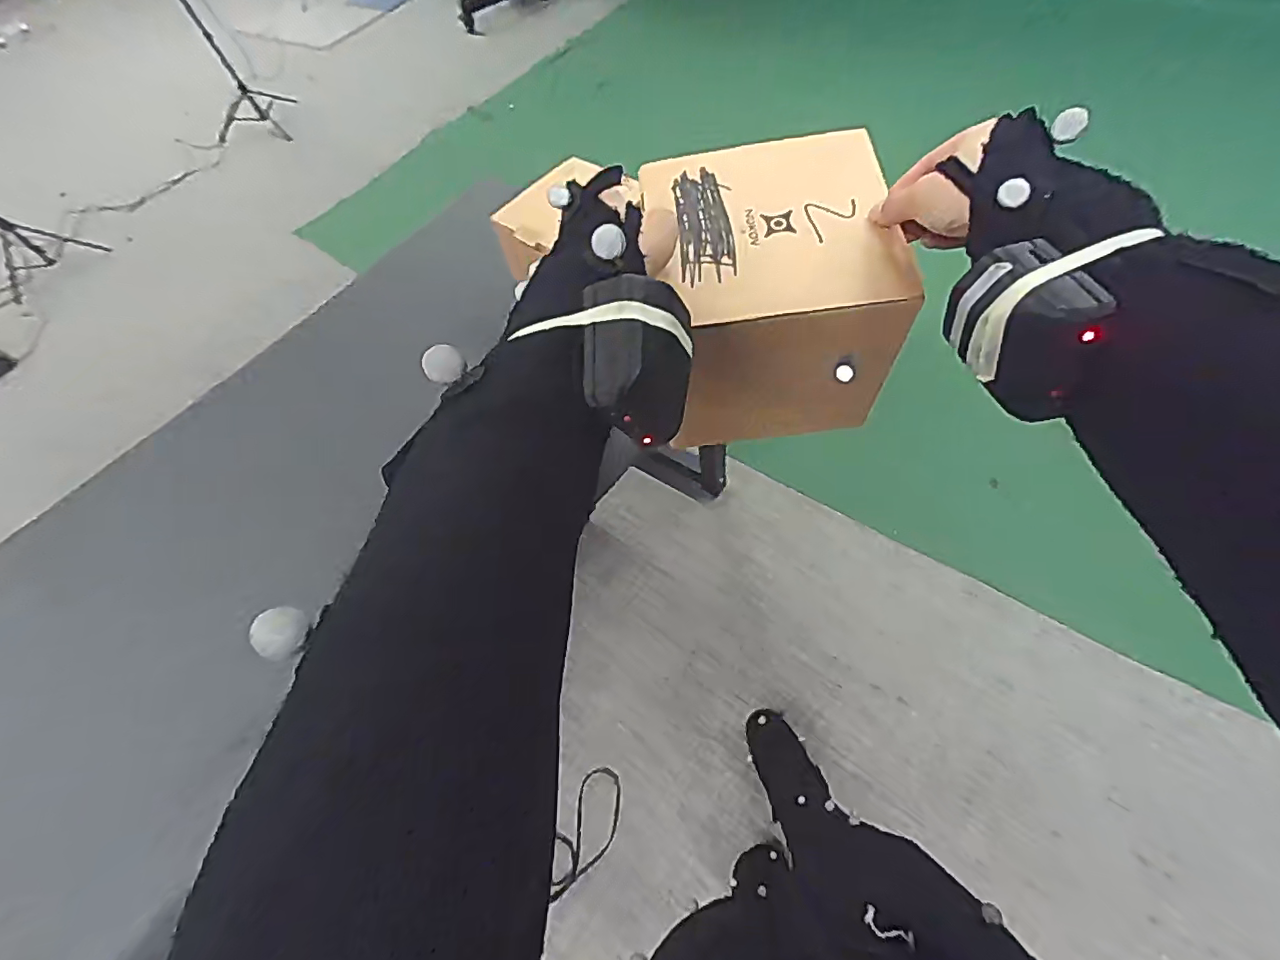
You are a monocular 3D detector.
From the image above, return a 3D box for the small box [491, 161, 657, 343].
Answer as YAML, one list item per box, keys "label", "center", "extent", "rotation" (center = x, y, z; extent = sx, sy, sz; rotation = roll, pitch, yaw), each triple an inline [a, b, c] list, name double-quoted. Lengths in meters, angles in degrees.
- label: "small box"
  center: [-0.088, -0.344, 0.829]
  extent: [0.168, 0.176, 0.179]
  rotation: [35, 69, 25]
